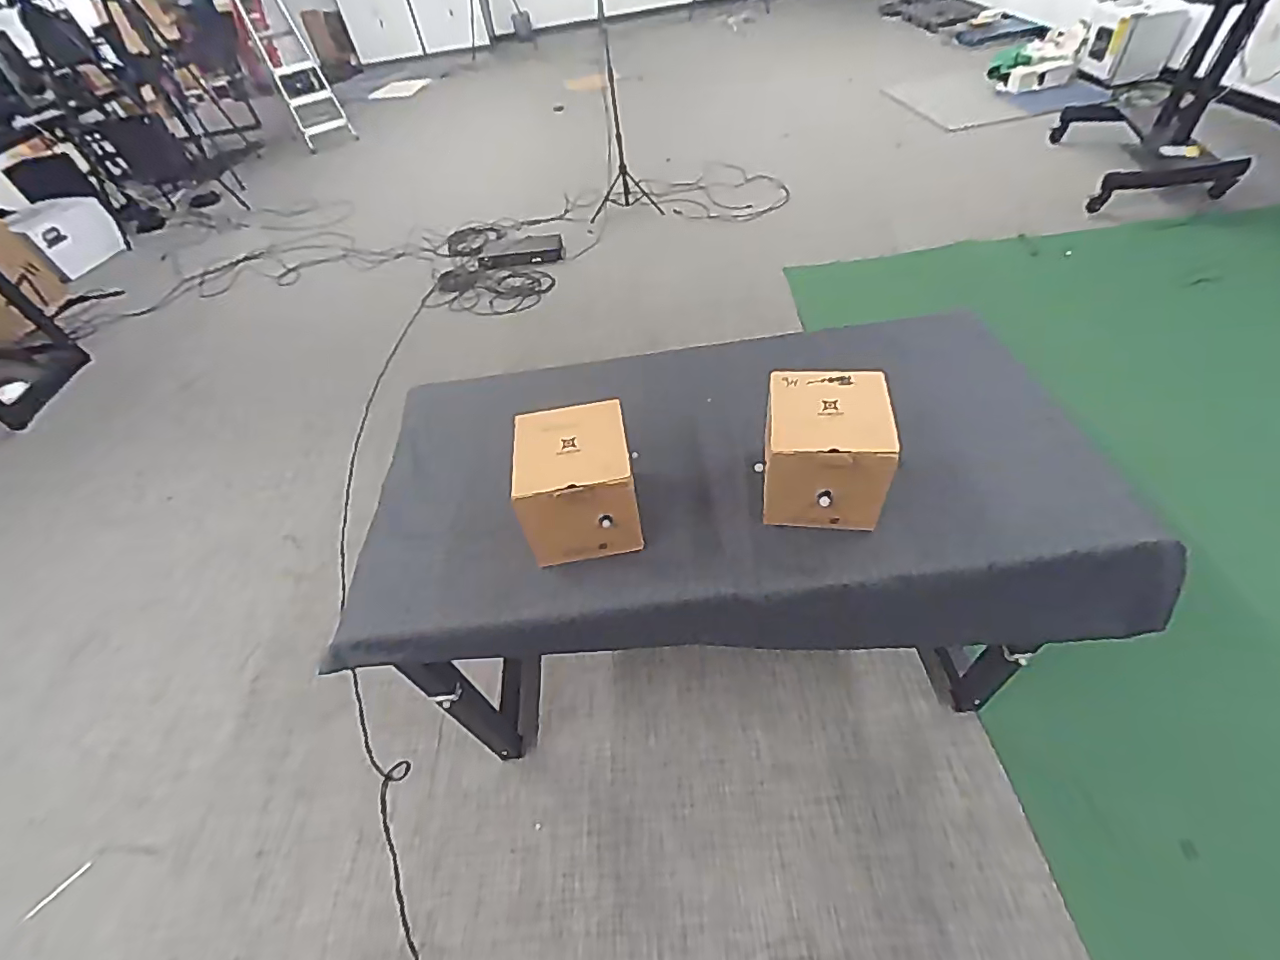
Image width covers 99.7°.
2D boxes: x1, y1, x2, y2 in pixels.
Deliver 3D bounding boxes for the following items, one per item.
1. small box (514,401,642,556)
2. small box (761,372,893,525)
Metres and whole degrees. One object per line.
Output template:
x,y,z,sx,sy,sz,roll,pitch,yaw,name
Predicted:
-0.094,0.004,0.849,0.168,0.176,0.179,-9,45,-2,small box
0.277,-0.047,0.837,0.168,0.176,0.179,3,50,11,small box
